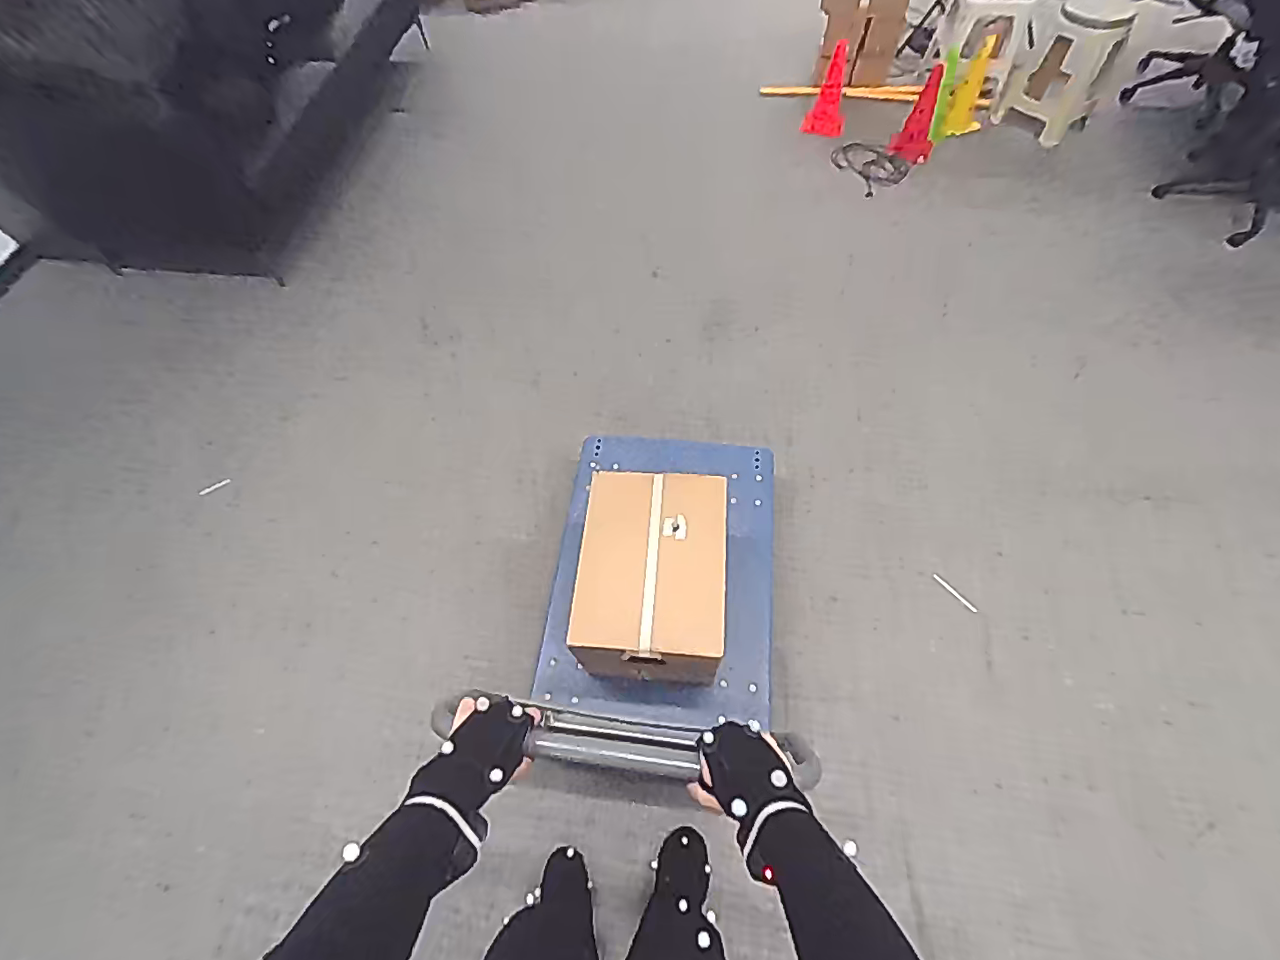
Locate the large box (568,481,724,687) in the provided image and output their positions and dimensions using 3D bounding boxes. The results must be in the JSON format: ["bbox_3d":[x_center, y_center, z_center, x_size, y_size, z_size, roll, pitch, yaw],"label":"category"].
[{"bbox_3d":[0.033,0.252,1.286,0.320,0.320,0.408,3,60,5],"label":"large box"}]
